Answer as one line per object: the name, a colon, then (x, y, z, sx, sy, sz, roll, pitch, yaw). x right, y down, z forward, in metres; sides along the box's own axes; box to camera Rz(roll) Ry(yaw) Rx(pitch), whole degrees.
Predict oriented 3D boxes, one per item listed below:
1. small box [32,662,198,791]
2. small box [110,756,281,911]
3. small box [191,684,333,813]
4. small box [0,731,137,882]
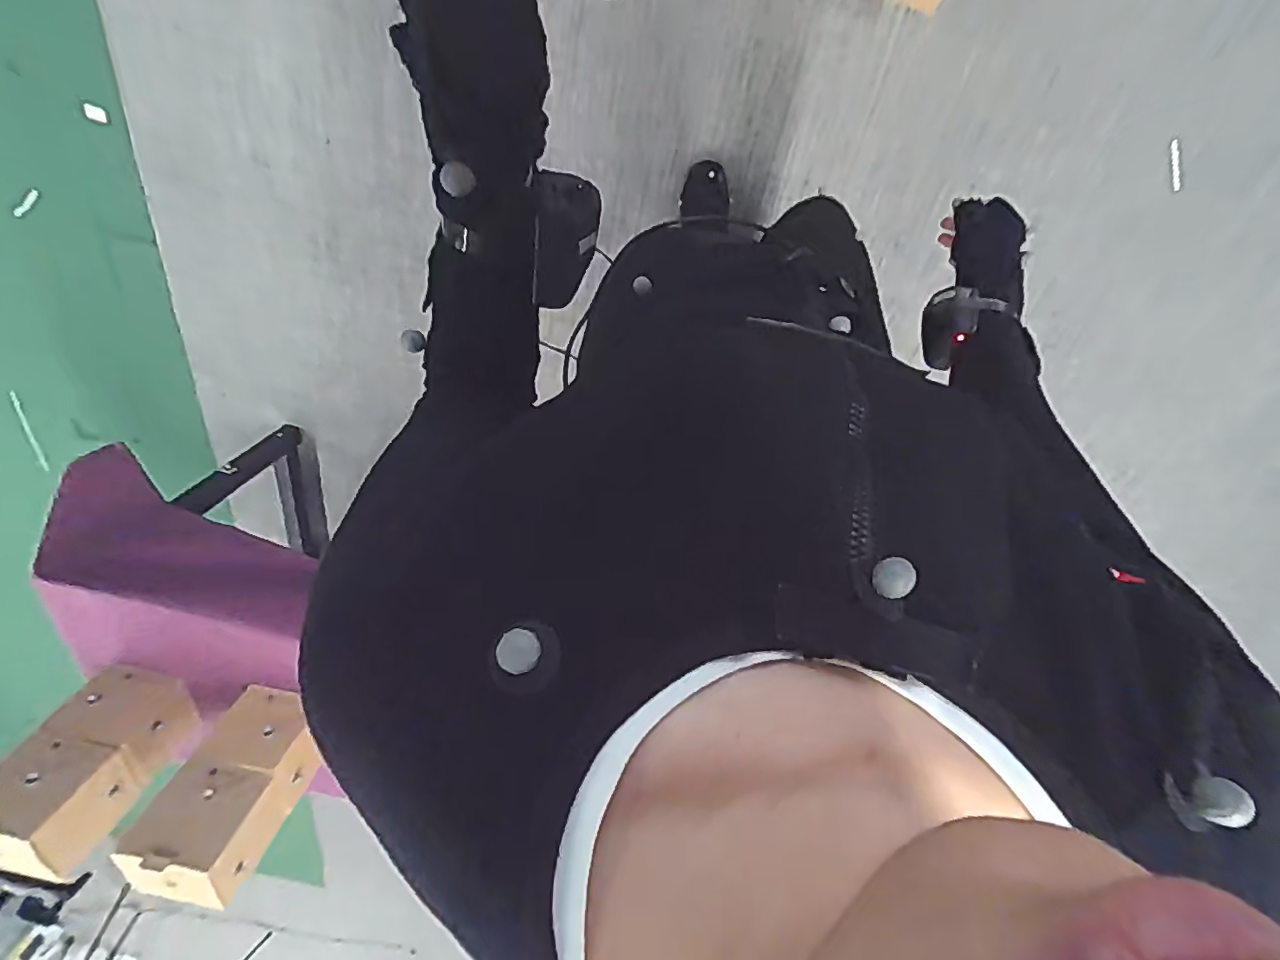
small box: (-1.099, 0.519, 1.151, 0.168, 0.176, 0.179, 14, 123, -2)
small box: (-0.802, 0.650, 1.002, 0.168, 0.176, 0.179, 14, 123, -2)
small box: (-0.781, 0.559, 1.138, 0.168, 0.176, 0.179, 12, 123, 0)
small box: (-1.111, 0.605, 1.012, 0.168, 0.176, 0.179, 15, 121, -1)
